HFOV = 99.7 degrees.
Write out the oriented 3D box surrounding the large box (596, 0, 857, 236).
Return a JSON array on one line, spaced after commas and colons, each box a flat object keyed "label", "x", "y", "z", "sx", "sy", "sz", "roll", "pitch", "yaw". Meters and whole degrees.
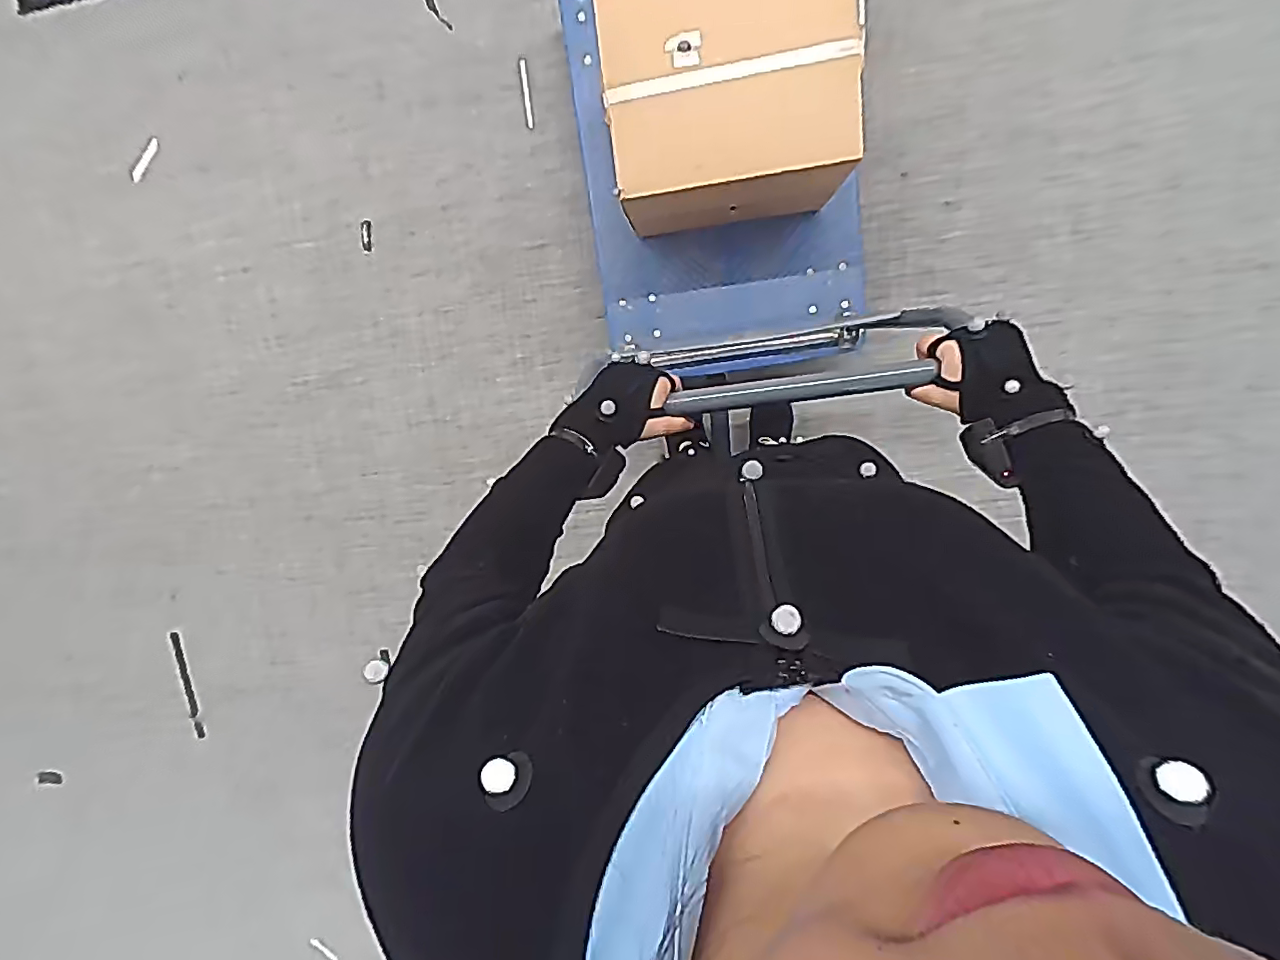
[{"label": "large box", "x": 0.161, "y": -0.689, "z": 1.034, "sx": 0.408, "sy": 0.320, "sz": 0.320, "roll": -6, "pitch": 101, "yaw": 8}]
